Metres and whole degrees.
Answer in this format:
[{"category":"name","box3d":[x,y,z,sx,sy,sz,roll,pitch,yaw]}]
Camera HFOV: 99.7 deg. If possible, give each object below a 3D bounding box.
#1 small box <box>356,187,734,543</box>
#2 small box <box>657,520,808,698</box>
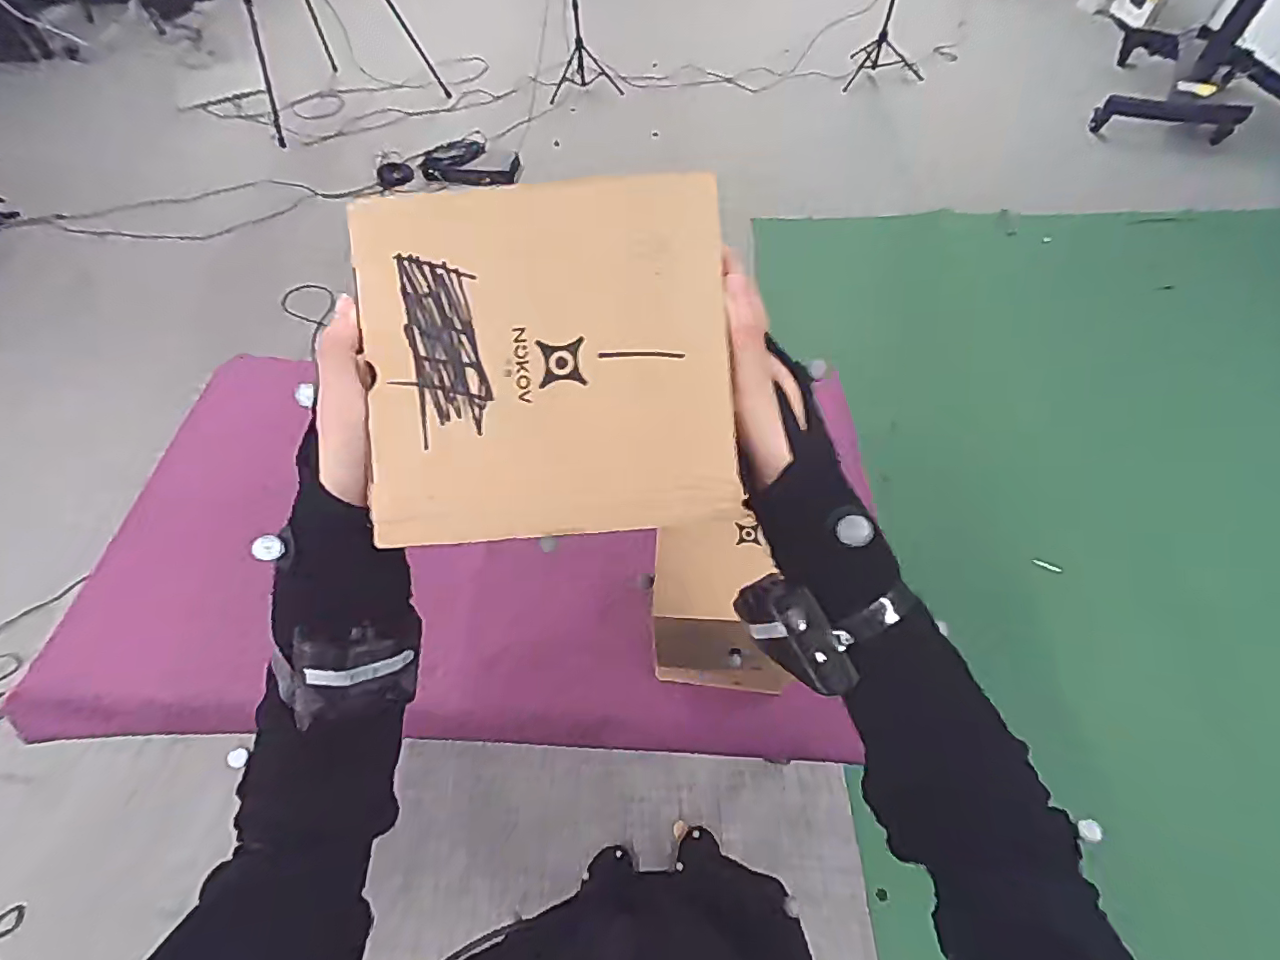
[{"category":"small box","box3d":[-0.045,-0.053,0.336,0.179,0.176,0.168,-3,90,-1]},{"category":"small box","box3d":[0.115,0.166,0.690,0.168,0.176,0.179,5,57,6]}]
